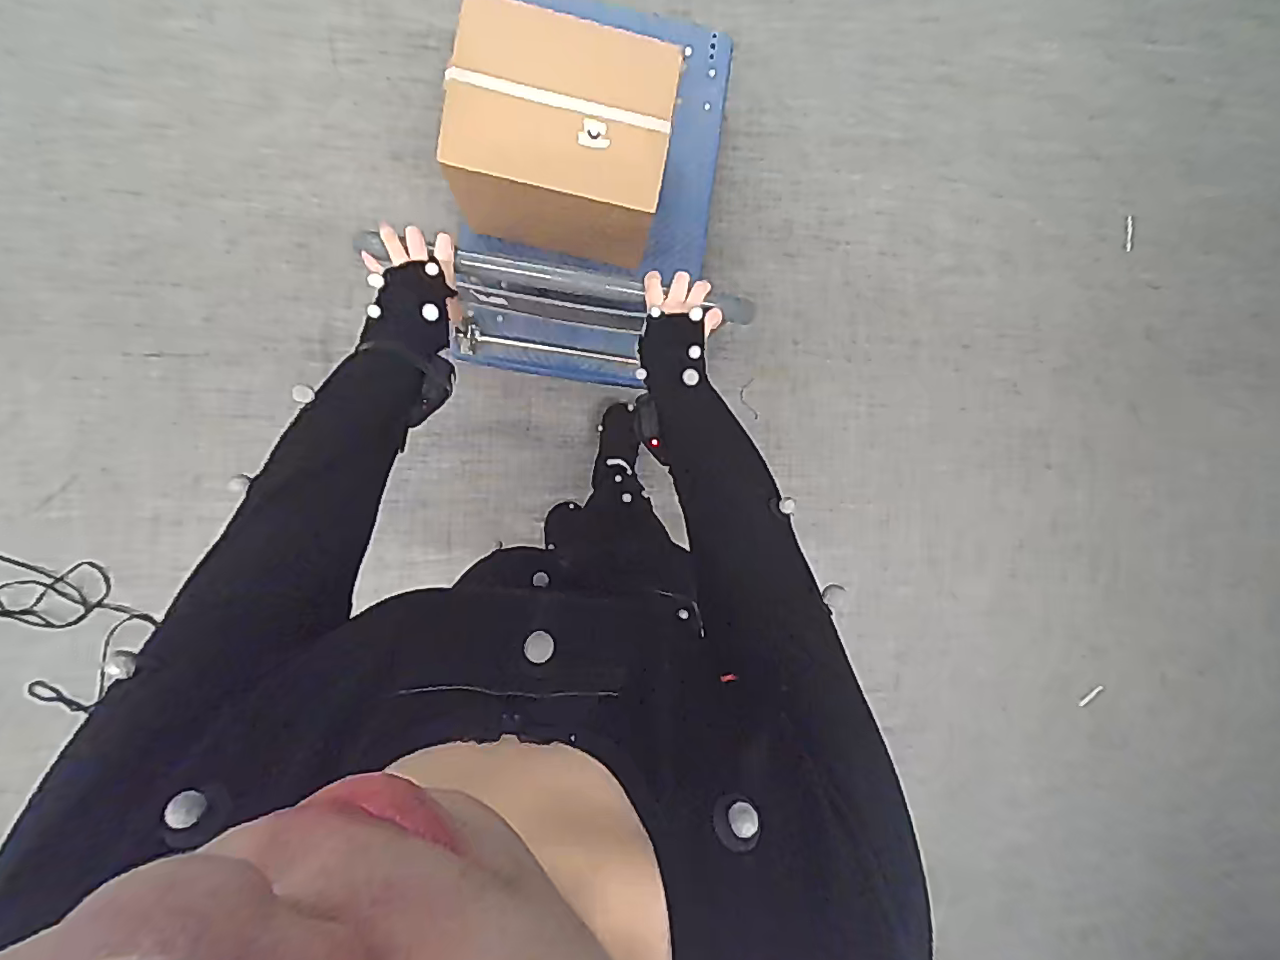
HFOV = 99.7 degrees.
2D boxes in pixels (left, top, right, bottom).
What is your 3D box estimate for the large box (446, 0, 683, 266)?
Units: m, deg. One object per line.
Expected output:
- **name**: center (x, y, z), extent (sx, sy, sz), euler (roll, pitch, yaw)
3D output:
- **large box**: center (-0.156, -0.696, 1.150), extent (0.408, 0.320, 0.320), euler (10, 91, -7)
